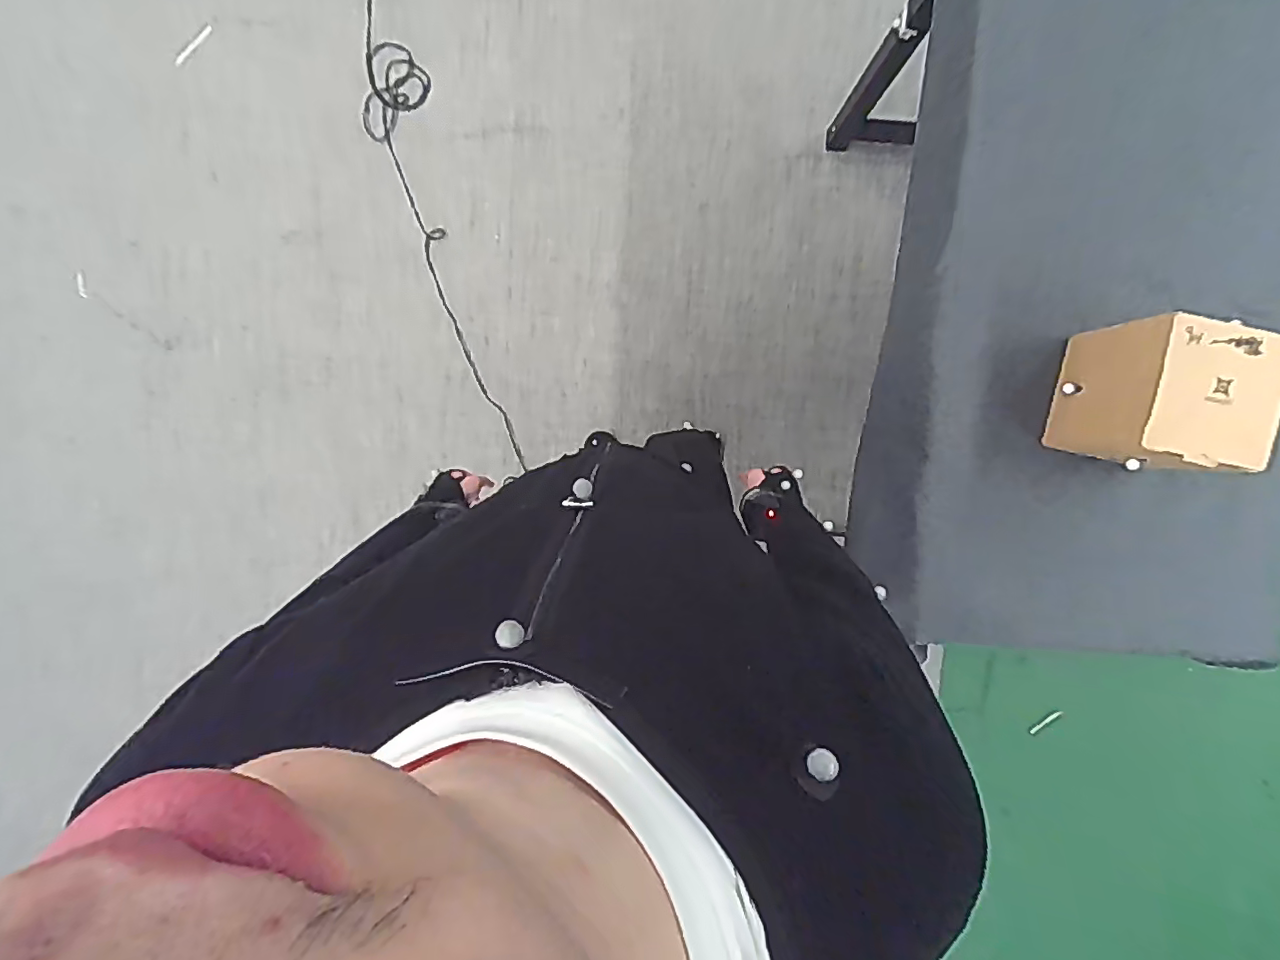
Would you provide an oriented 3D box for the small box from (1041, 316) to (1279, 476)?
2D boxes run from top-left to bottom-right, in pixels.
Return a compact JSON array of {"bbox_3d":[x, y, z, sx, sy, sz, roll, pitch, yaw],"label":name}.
[{"bbox_3d":[0.721,-0.113,0.769,0.168,0.176,0.179,12,95,-2],"label":"small box"}]
